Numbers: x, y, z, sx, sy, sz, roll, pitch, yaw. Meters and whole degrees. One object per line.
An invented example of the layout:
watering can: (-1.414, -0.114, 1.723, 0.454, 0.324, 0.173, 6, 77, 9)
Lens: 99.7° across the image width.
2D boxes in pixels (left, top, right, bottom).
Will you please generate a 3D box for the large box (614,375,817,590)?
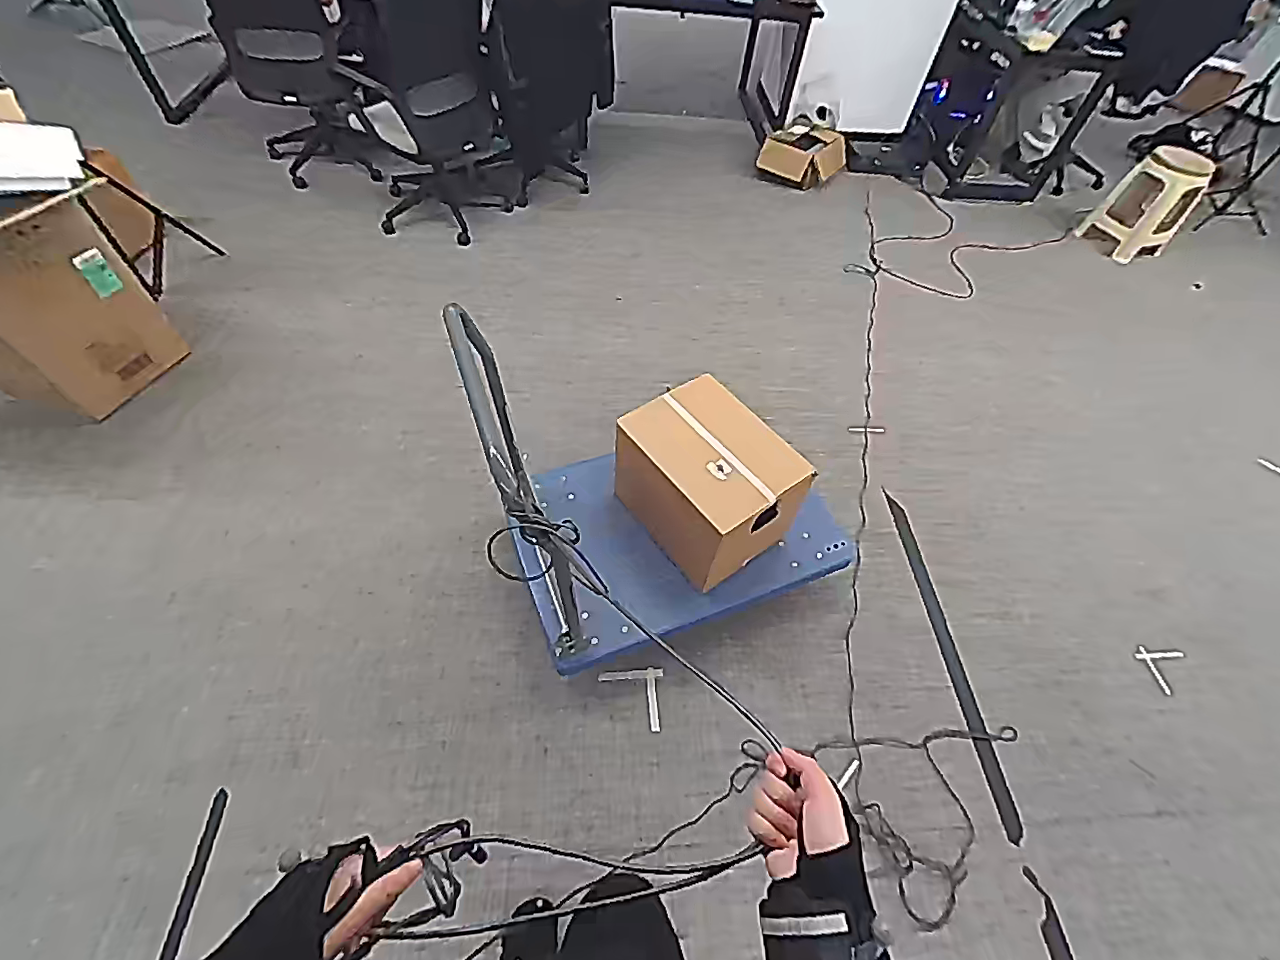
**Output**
large box: (0.170, 0.003, 1.423, 0.320, 0.320, 0.408, -31, 63, -22)
